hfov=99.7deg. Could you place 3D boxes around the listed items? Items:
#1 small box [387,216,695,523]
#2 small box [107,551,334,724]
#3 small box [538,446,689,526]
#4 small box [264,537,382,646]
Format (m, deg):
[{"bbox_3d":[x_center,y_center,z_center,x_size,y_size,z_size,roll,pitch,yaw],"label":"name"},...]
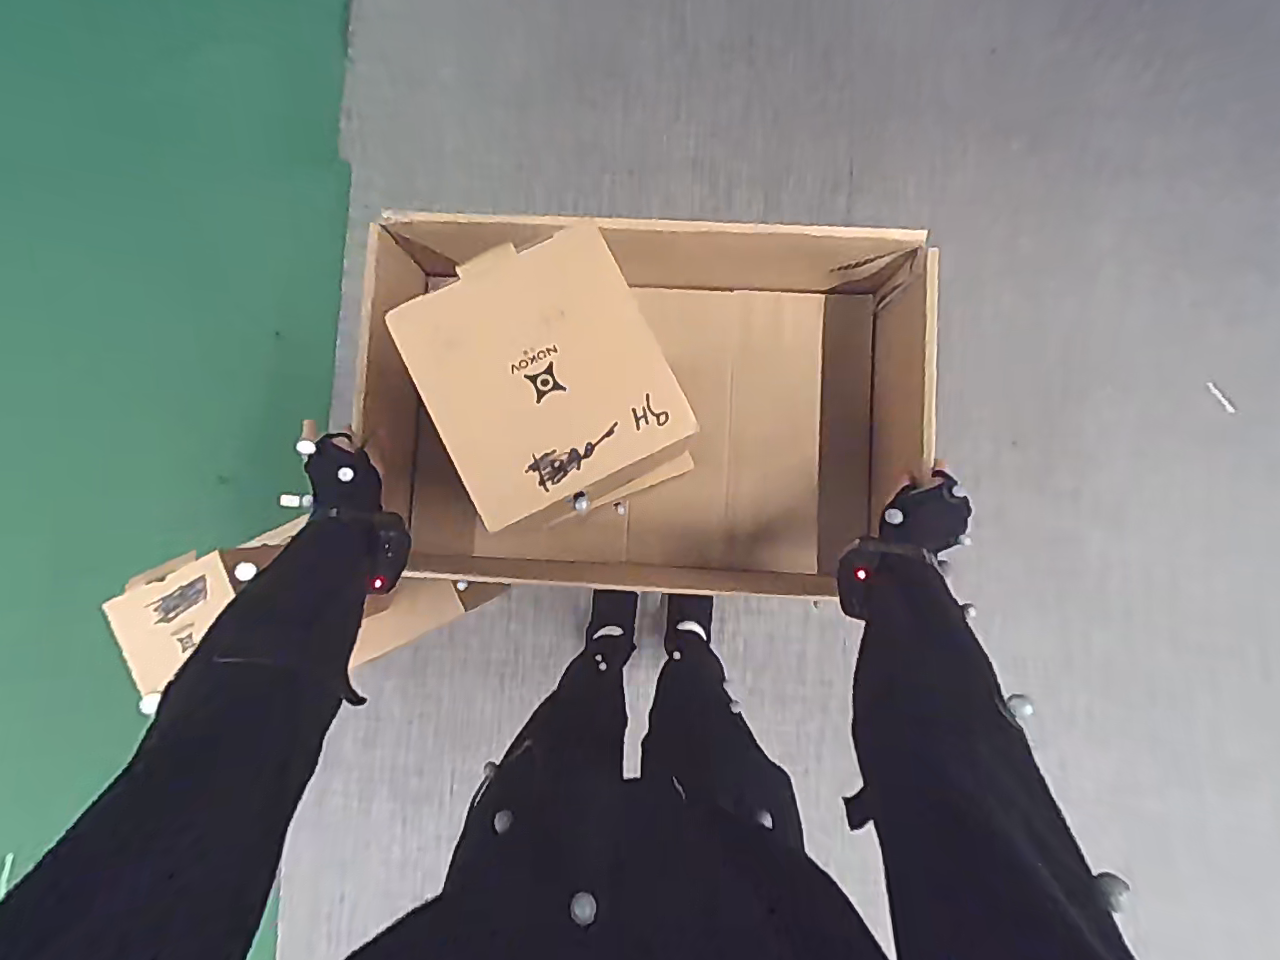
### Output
[{"bbox_3d":[-0.071,-0.072,0.457,0.168,0.176,0.179,-27,86,-2],"label":"small box"},{"bbox_3d":[-0.591,0.212,0.785,0.168,0.176,0.179,-25,87,-1],"label":"small box"},{"bbox_3d":[-0.053,-0.058,0.620,0.168,0.176,0.179,-21,85,-2],"label":"small box"},{"bbox_3d":[-0.595,0.215,0.950,0.168,0.176,0.179,-30,86,-2],"label":"small box"}]
